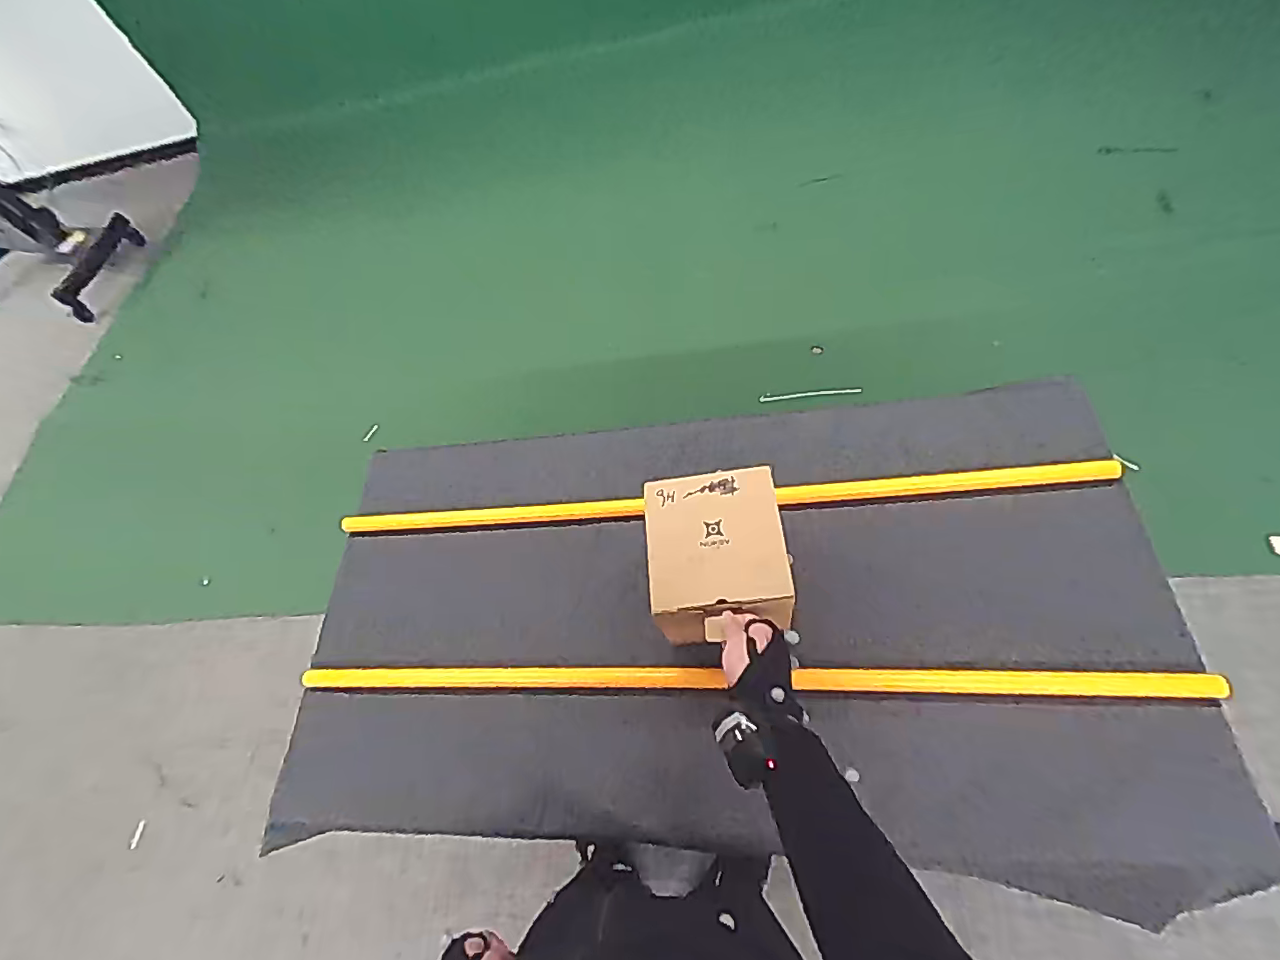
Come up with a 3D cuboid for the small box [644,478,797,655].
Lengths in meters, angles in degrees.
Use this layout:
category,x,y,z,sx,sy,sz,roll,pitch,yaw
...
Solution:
category,x,y,z,sx,sy,sz,roll,pitch,yaw
small box,0.110,0.126,0.724,0.168,0.176,0.179,-12,57,8
